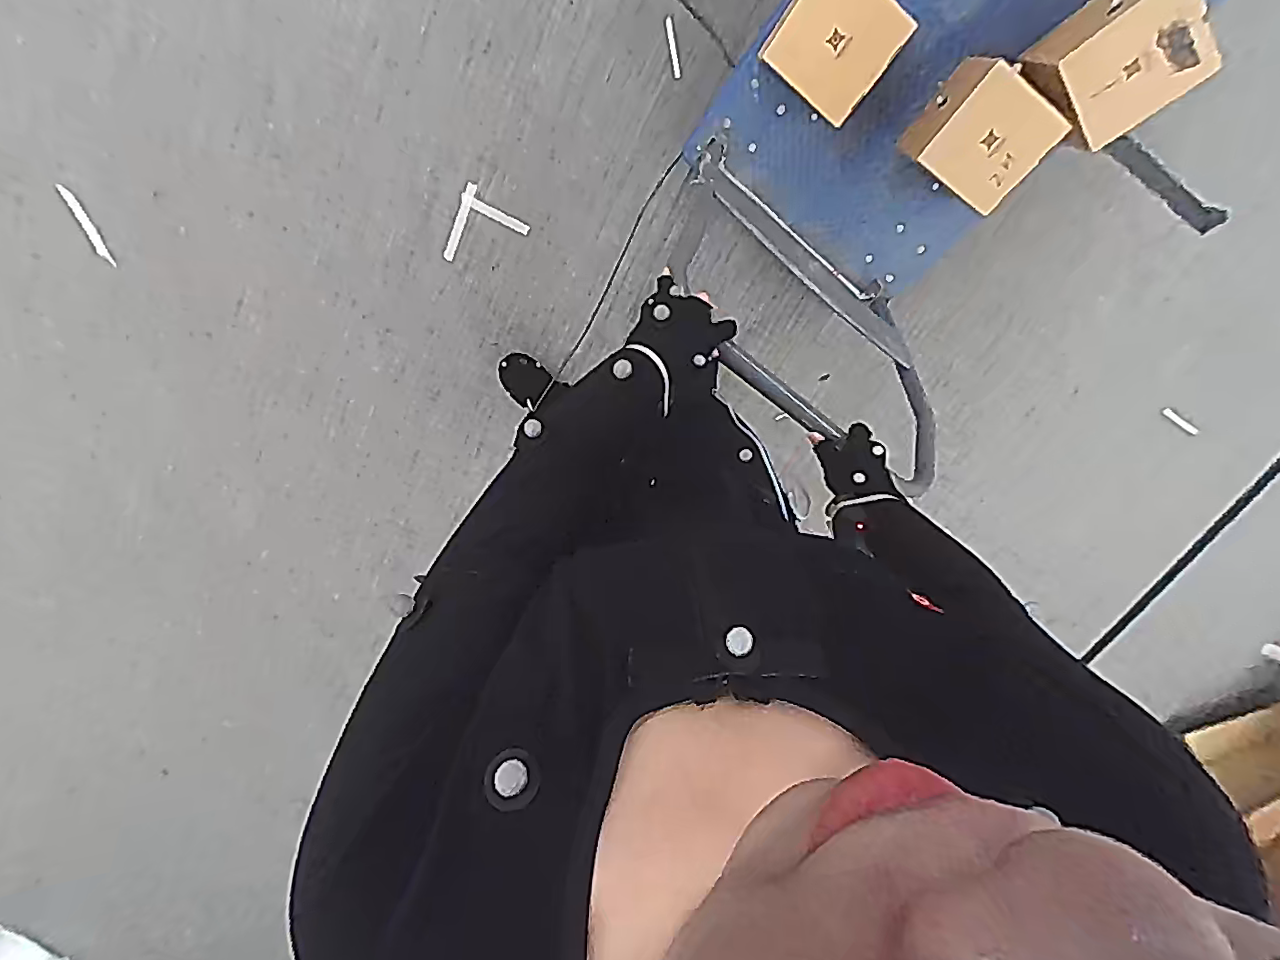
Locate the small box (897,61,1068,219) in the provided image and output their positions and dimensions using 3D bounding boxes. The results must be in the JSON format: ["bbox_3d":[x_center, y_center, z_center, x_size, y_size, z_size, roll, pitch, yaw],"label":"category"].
[{"bbox_3d":[0.599,-0.610,0.973,0.179,0.176,0.168,30,127,-14],"label":"small box"}]

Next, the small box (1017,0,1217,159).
[{"bbox_3d":[0.771,-0.676,0.890,0.179,0.176,0.168,-31,118,30],"label":"small box"}]

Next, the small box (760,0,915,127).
[{"bbox_3d":[0.320,-0.742,0.917,0.179,0.176,0.168,31,127,-17],"label":"small box"}]
